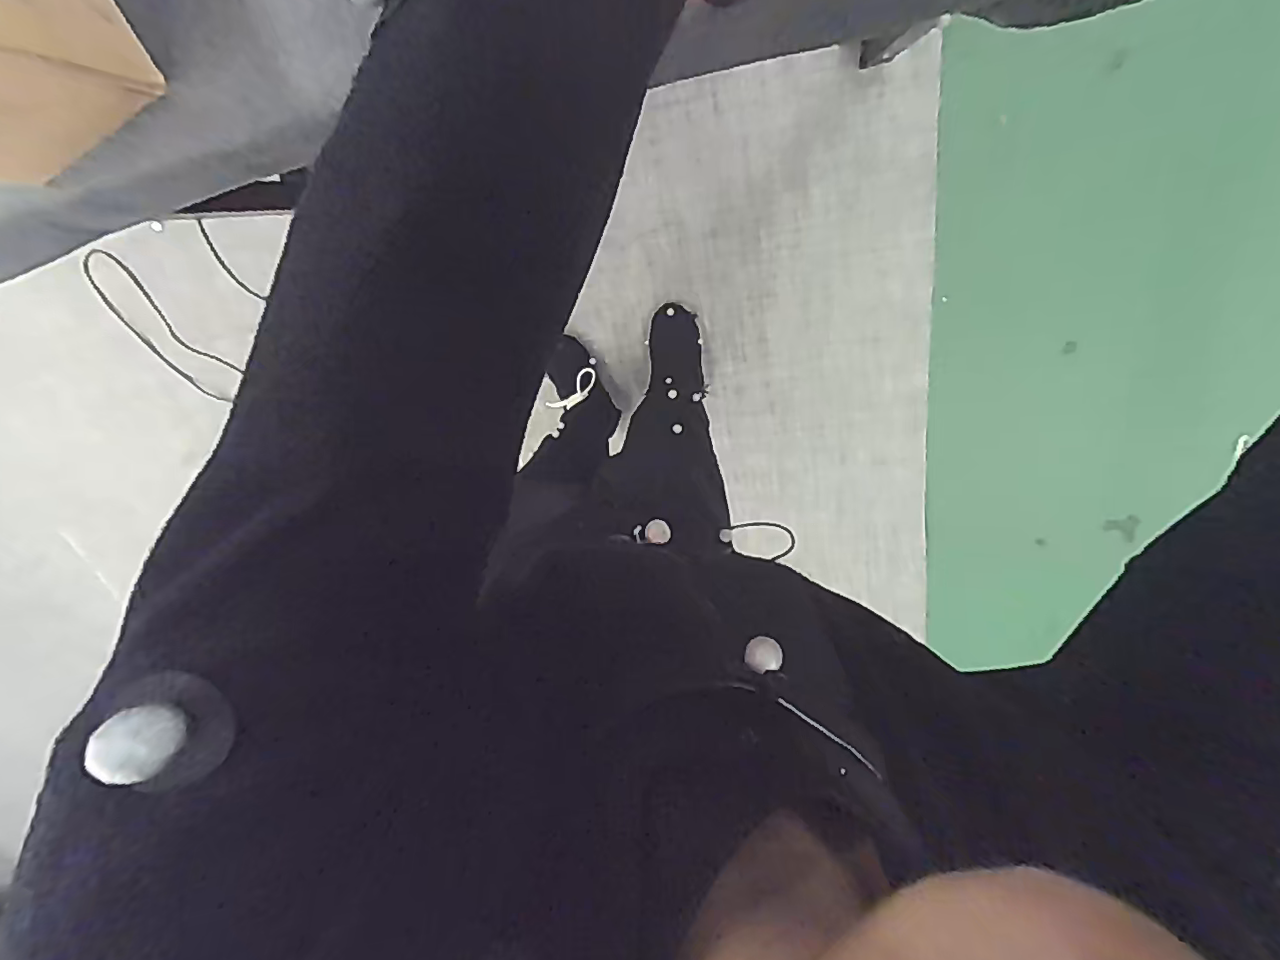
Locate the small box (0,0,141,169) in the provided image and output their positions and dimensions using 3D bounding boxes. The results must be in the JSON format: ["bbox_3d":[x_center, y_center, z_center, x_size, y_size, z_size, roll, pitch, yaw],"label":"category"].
[{"bbox_3d":[-0.499,-0.330,0.356,0.179,0.176,0.168,-19,113,16],"label":"small box"}]
